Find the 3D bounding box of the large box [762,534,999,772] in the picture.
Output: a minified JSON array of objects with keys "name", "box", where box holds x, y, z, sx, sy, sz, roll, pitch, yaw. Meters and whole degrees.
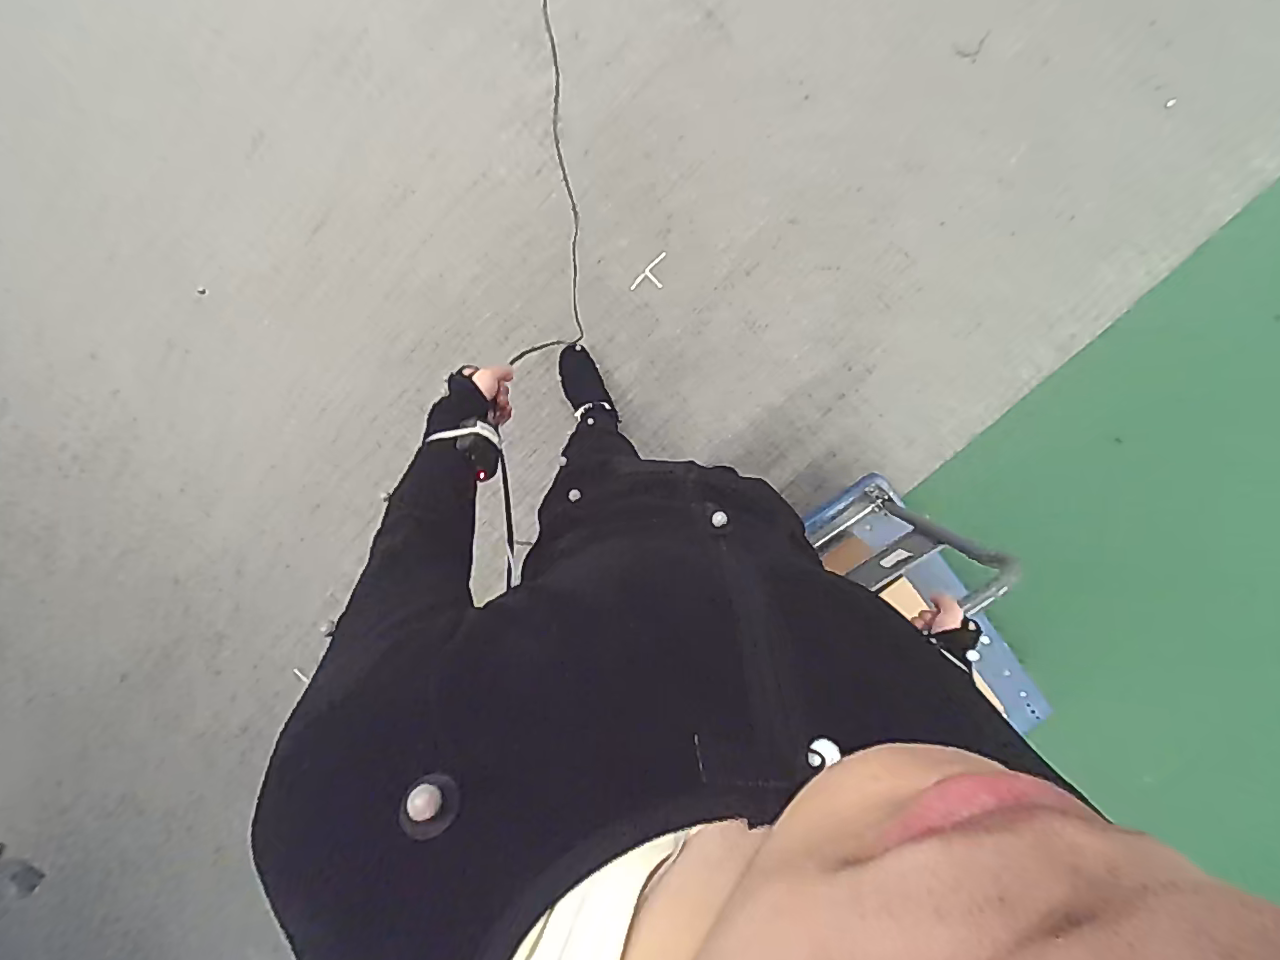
[{"name":"large box","box":[0.567,0.408,1.350,0.320,0.320,0.408,-38,98,9]}]
